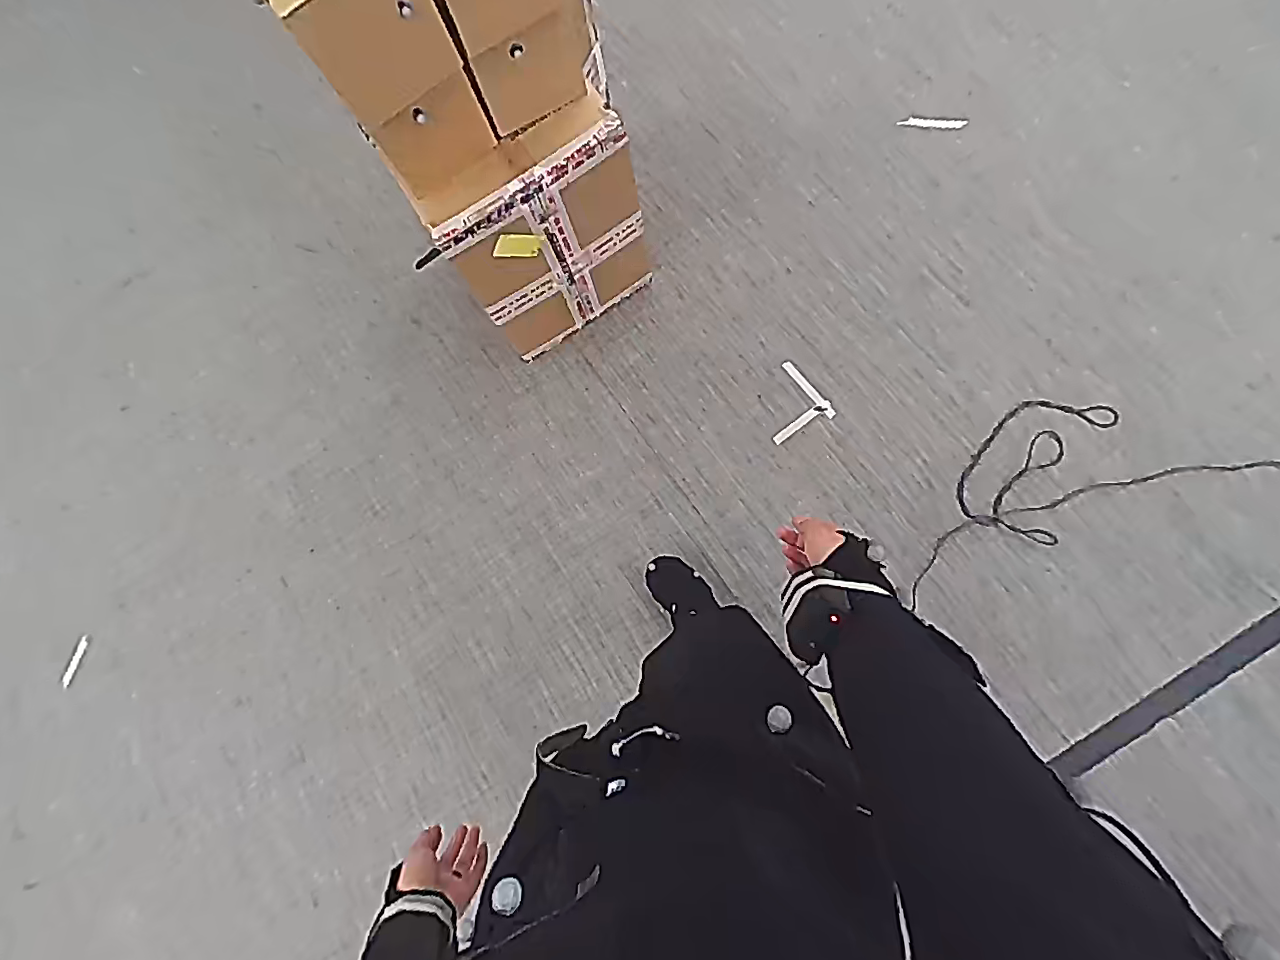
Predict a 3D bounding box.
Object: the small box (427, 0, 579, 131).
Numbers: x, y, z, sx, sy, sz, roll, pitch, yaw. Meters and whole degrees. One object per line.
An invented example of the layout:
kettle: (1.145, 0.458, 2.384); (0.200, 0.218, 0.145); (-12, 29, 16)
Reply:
small box: (-0.222, -0.727, 0.889); (0.179, 0.176, 0.168); (-28, 77, -1)
